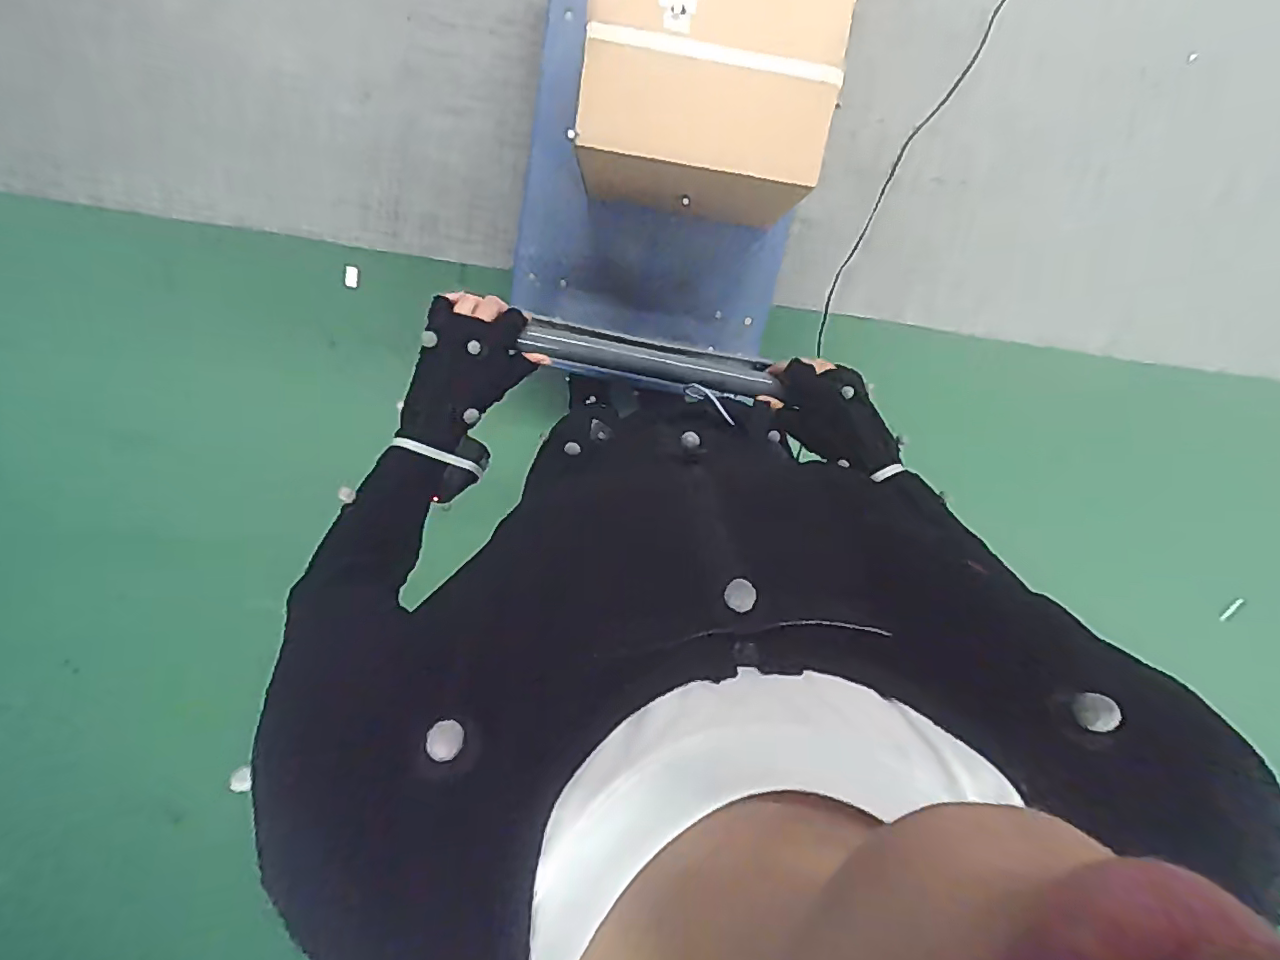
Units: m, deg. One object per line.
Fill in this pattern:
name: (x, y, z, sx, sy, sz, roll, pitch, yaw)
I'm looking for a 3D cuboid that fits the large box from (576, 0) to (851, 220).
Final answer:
large box: (0.112, -0.696, 0.990, 0.408, 0.320, 0.320, 8, 103, -3)
